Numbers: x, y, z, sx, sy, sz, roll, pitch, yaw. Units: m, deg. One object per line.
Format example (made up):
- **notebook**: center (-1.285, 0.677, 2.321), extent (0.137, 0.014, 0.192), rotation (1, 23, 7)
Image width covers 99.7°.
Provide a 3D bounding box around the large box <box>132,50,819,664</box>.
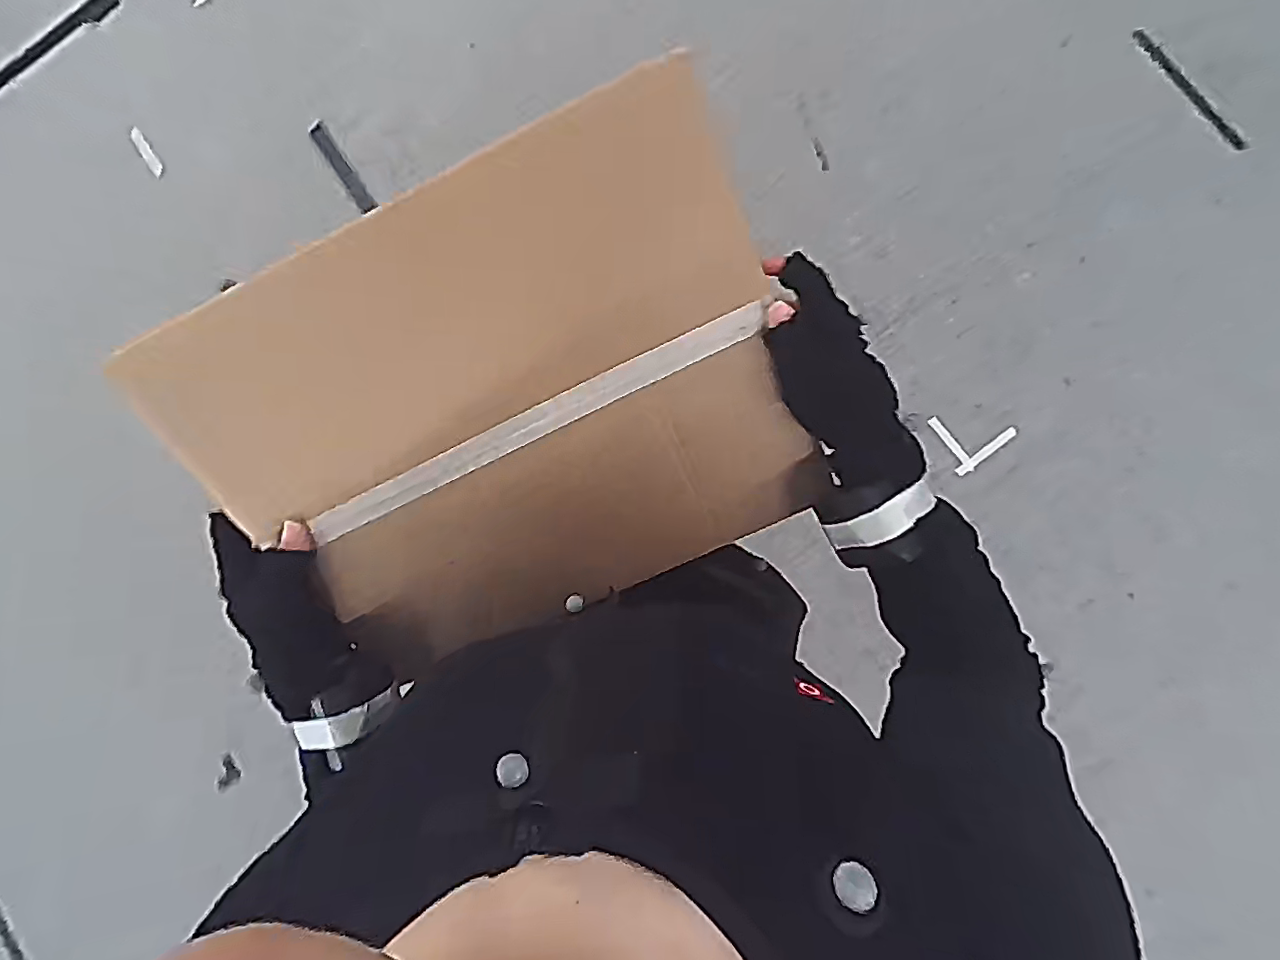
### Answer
- **large box**: center (-0.109, -0.103, 0.527), extent (0.408, 0.320, 0.320), rotation (-25, 116, 6)
